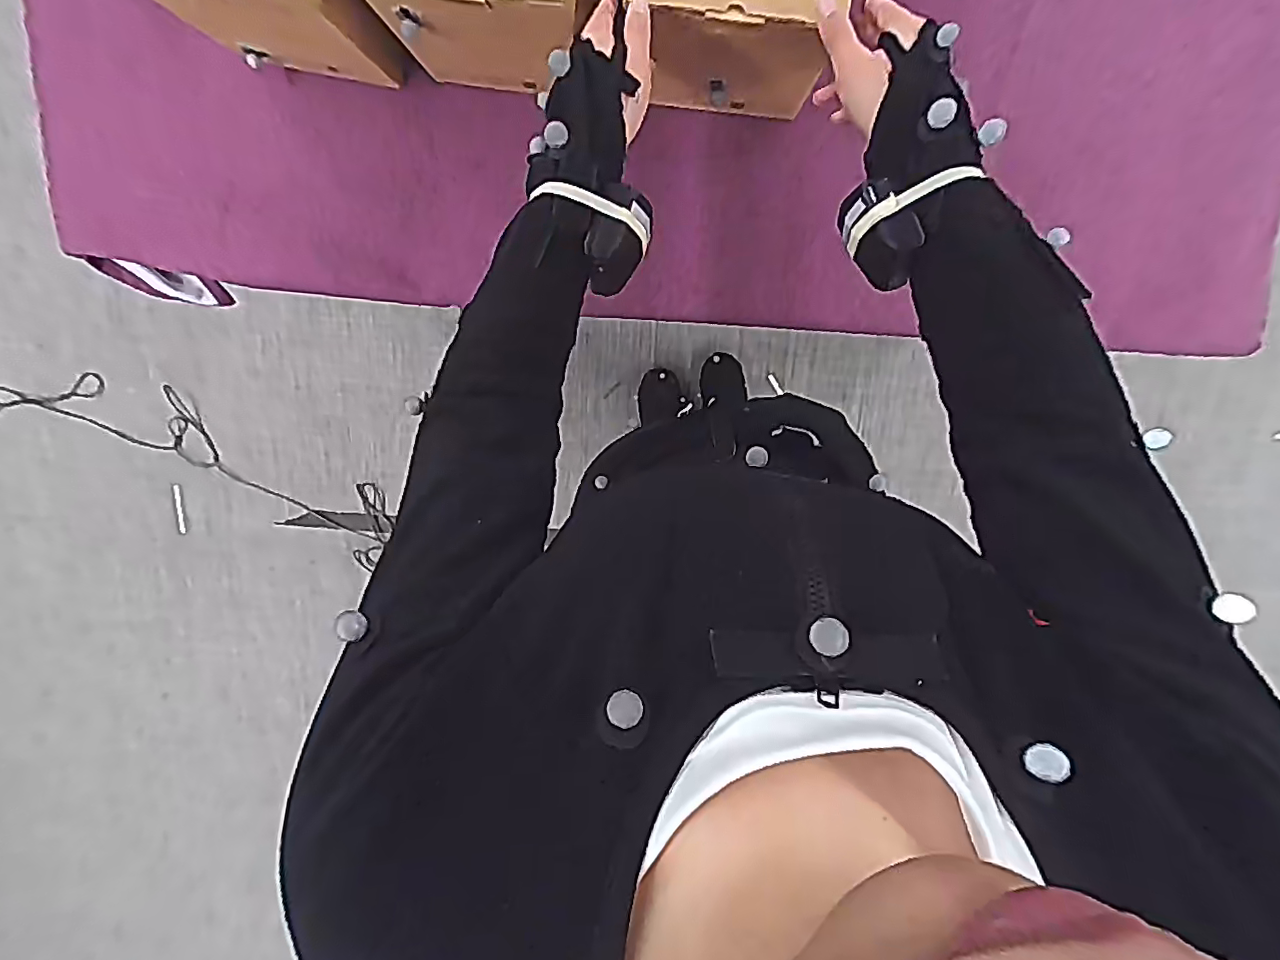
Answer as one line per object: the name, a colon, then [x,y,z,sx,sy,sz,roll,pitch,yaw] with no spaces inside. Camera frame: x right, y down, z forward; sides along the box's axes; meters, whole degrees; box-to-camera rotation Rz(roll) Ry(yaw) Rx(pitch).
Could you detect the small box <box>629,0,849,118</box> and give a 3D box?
small box: [0.081,-0.441,0.449,0.168,0.176,0.179,7,104,1]
